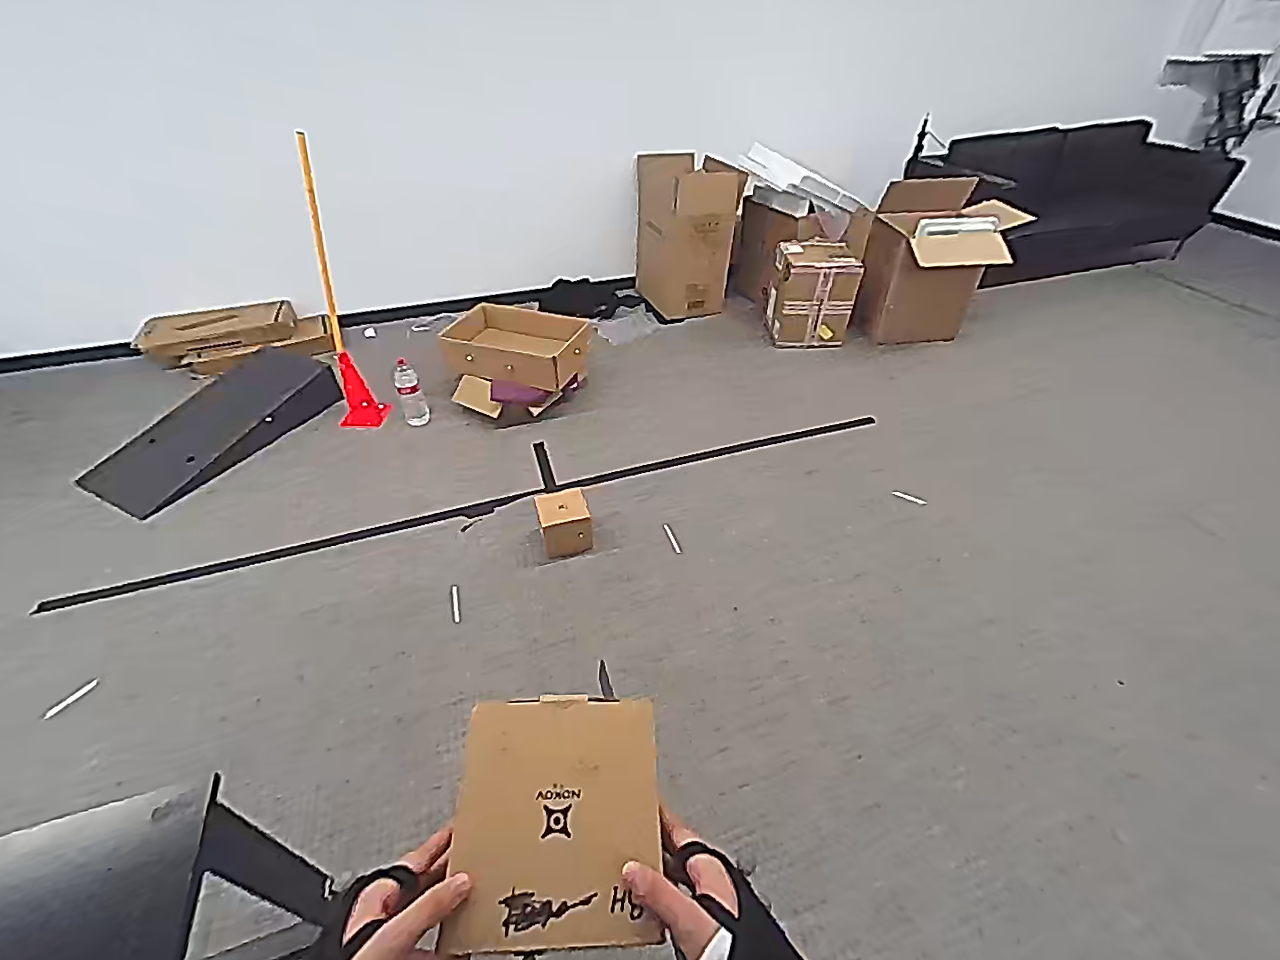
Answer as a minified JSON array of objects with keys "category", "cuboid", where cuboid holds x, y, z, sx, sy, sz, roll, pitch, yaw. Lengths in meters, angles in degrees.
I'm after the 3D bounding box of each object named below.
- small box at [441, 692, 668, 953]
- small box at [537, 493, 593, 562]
[{"category":"small box","cuboid":[-0.068,0.316,0.501,0.168,0.176,0.179,-1,48,-4]},{"category":"small box","cuboid":[-0.274,0.176,2.001,0.179,0.176,0.168,-13,42,-14]}]
